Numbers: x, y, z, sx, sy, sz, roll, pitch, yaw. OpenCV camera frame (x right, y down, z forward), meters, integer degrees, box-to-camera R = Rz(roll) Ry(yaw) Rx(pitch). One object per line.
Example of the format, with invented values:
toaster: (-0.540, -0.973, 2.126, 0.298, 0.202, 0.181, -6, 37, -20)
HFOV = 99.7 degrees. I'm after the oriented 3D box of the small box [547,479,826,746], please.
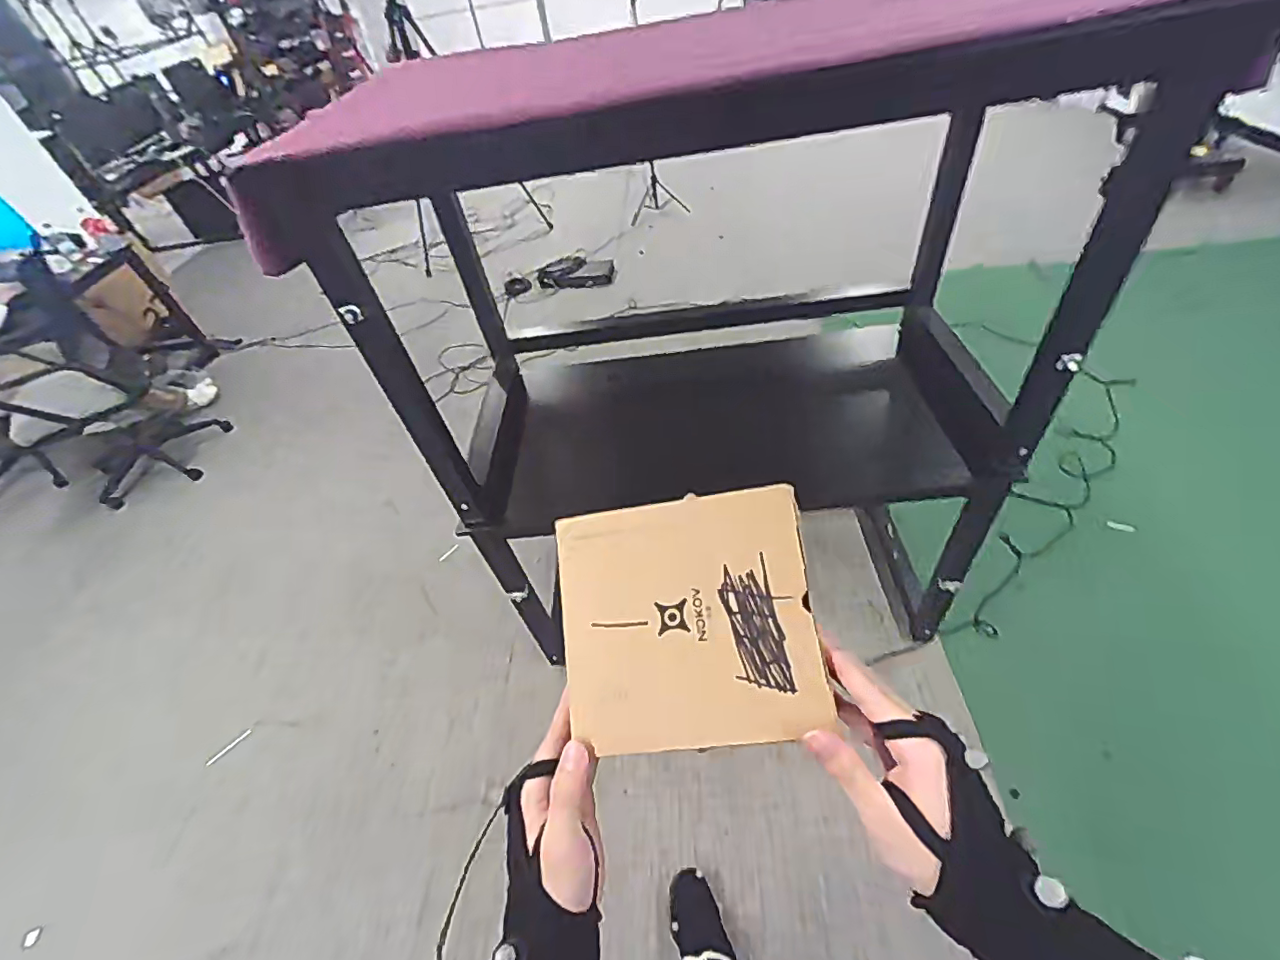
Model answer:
small box: (0.038, 0.107, 0.445, 0.179, 0.176, 0.168, -9, 74, 9)
